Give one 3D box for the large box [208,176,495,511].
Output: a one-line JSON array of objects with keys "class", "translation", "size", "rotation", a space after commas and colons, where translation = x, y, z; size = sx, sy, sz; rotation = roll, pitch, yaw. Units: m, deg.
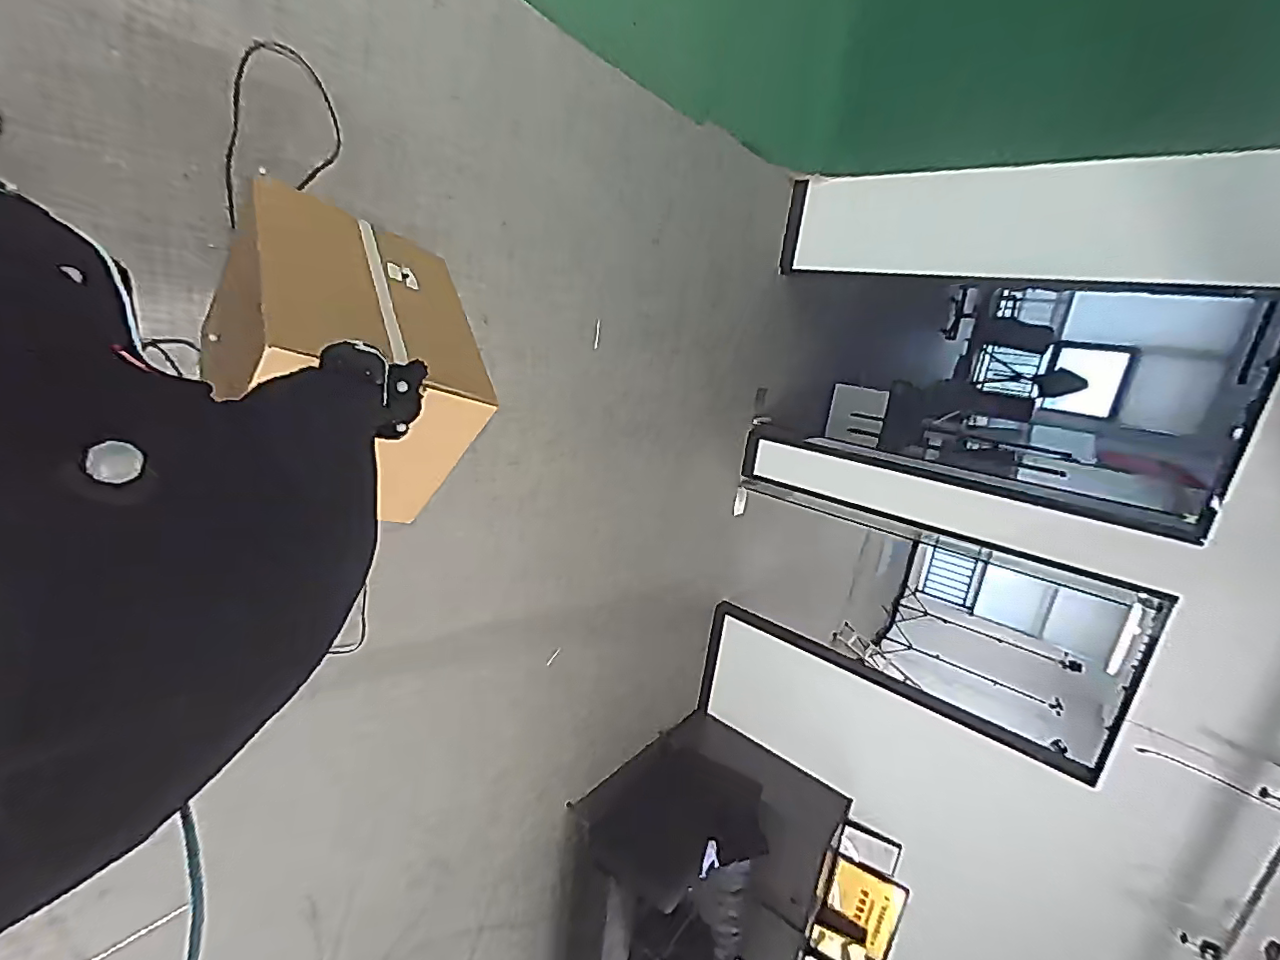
[{"class": "large box", "translation": [-0.499, -0.199, 0.906], "size": [0.320, 0.408, 0.320], "rotation": [12, 132, -48]}]
